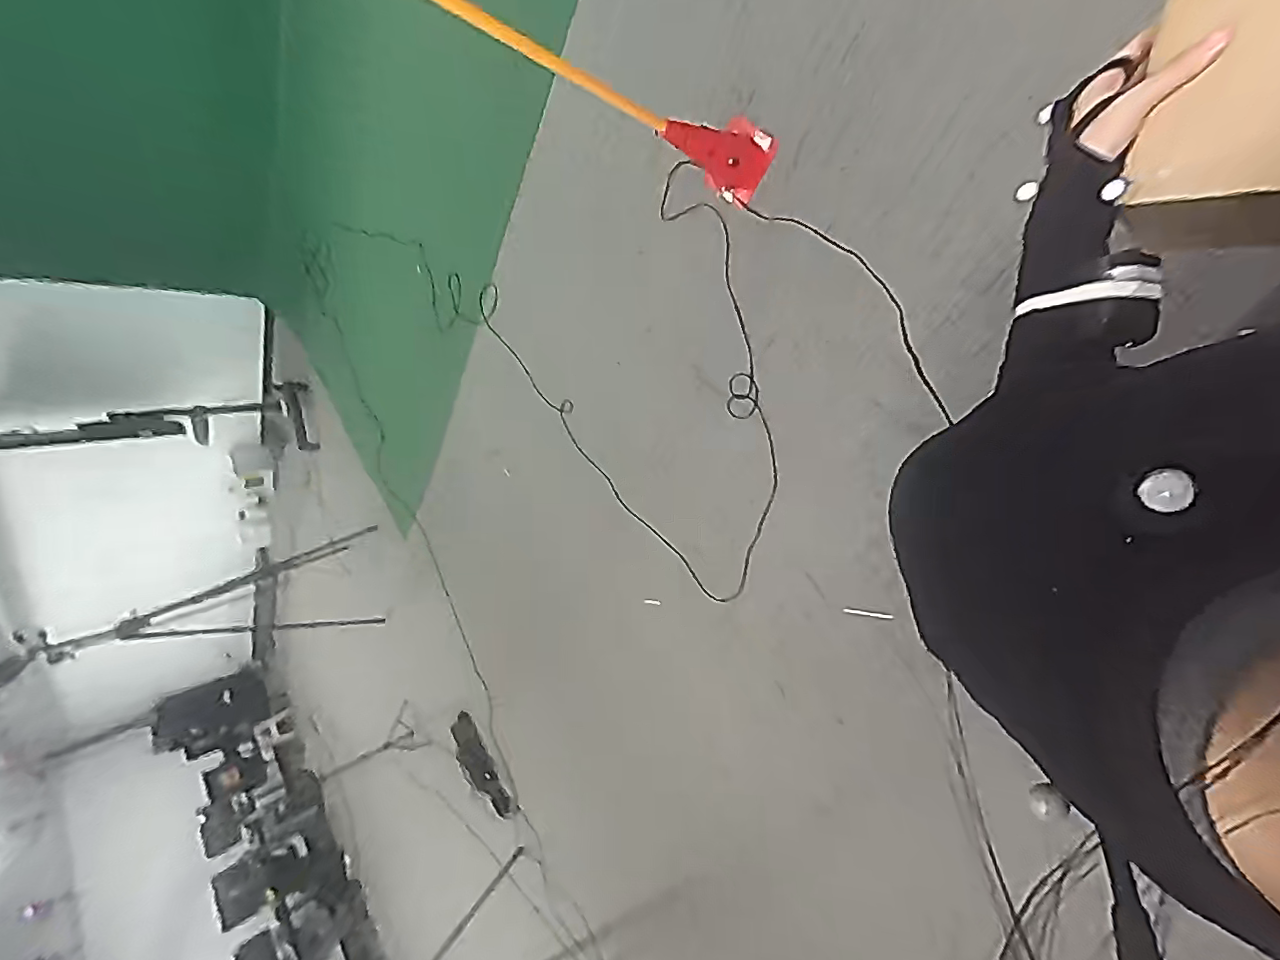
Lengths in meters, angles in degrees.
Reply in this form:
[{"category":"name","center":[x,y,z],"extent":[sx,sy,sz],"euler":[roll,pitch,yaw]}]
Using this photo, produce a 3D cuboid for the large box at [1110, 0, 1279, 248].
[{"category":"large box","center":[0.617,-0.349,0.351],"extent":[0.408,0.320,0.320],"euler":[16,110,43]}]
